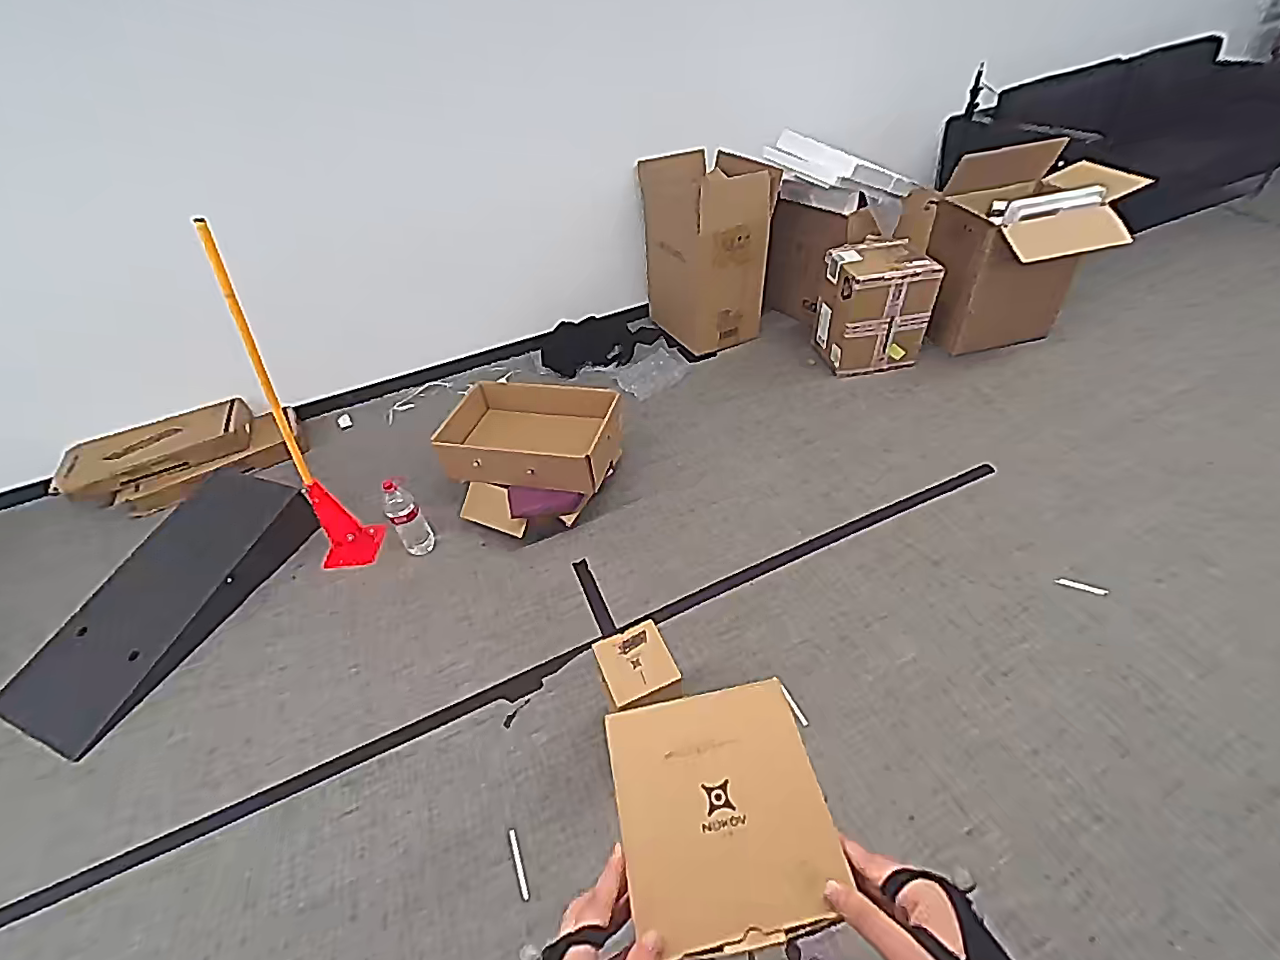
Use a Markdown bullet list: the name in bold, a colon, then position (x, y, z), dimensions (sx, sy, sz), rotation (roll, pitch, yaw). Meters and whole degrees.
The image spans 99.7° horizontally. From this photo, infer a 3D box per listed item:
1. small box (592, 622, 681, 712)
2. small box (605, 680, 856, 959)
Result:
- **small box**: position (-0.008, 0.494, 1.342), dimensions (0.168, 0.176, 0.179), rotation (-20, 46, -14)
- **small box**: position (0.066, 0.313, 0.493), dimensions (0.168, 0.176, 0.179), rotation (-9, 46, -6)
